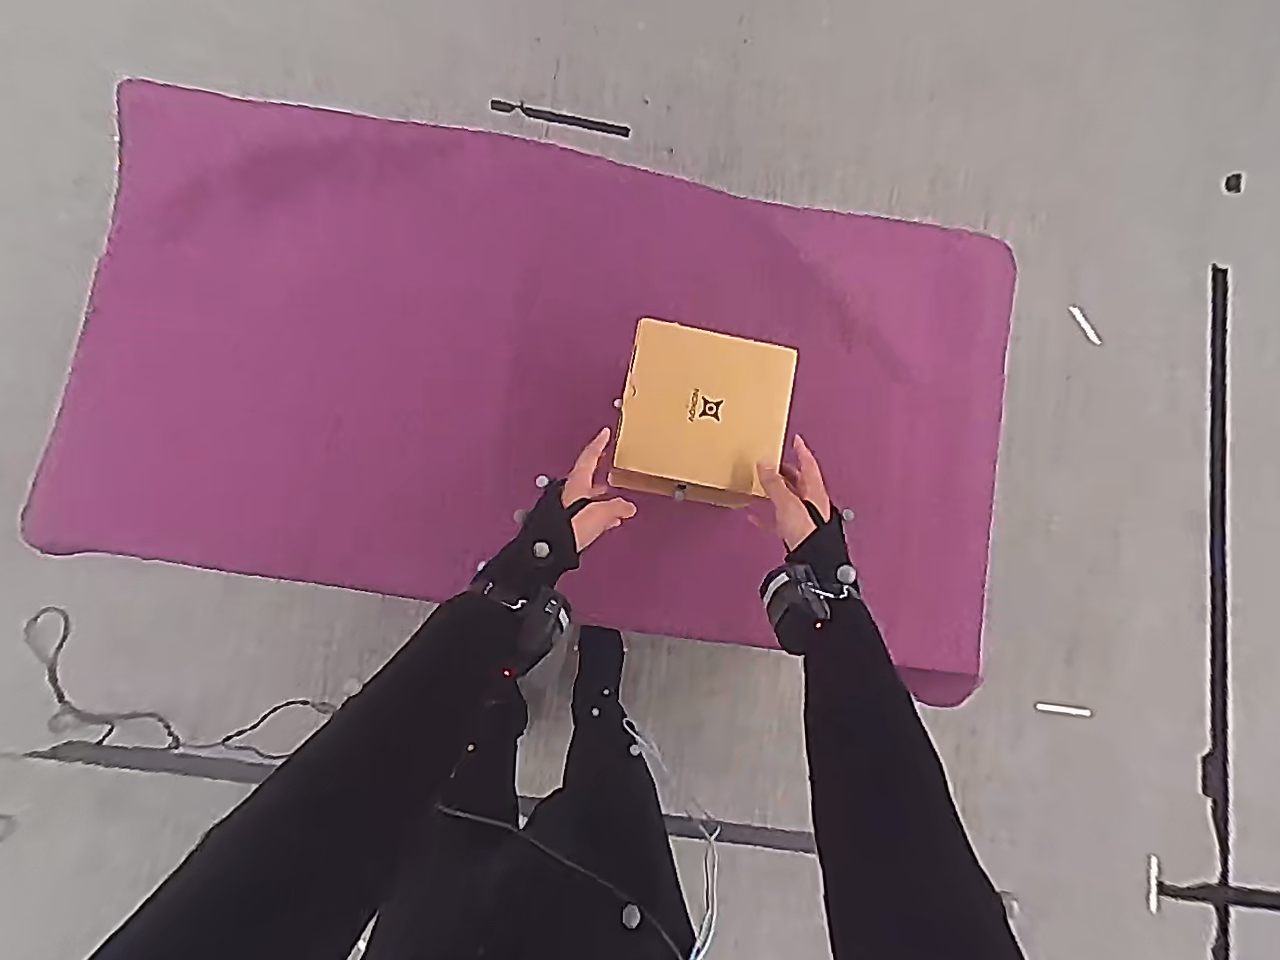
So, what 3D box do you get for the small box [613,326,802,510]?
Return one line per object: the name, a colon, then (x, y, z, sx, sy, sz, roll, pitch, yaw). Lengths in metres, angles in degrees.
small box: (0.068, -0.060, 0.641, 0.179, 0.176, 0.168, 11, 84, -1)
